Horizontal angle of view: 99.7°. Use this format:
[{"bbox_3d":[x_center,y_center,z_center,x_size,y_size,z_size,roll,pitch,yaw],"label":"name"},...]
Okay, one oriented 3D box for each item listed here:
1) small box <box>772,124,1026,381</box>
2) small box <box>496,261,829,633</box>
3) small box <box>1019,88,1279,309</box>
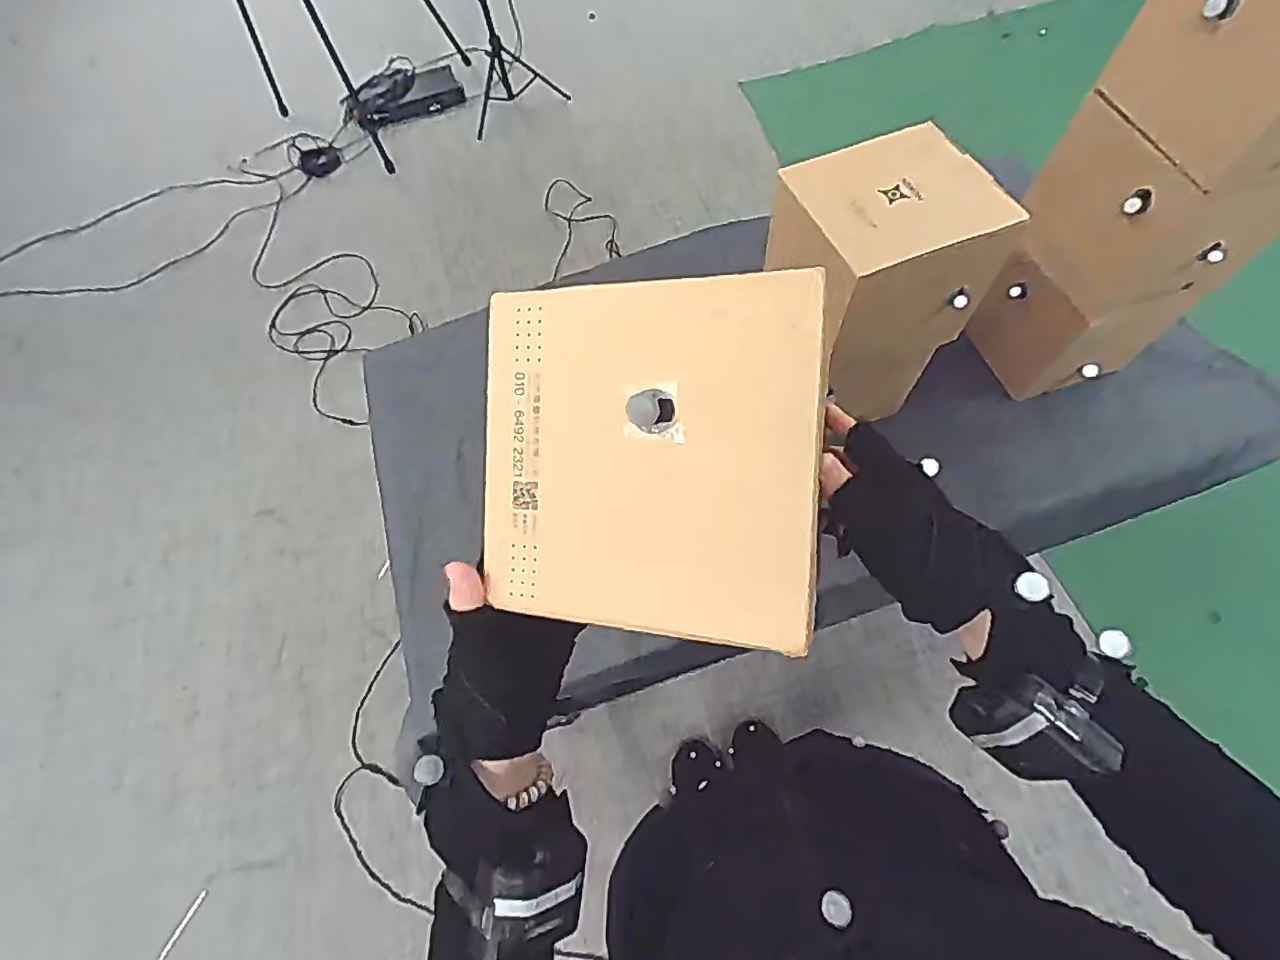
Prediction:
[{"bbox_3d":[0.257,-0.239,0.595,0.179,0.176,0.168,-20,63,-3],"label":"small box"},{"bbox_3d":[0.026,-0.015,0.336,0.176,0.179,0.168,2,92,19],"label":"small box"},{"bbox_3d":[0.568,-0.313,0.595,0.168,0.176,0.179,-15,64,-1],"label":"small box"}]
